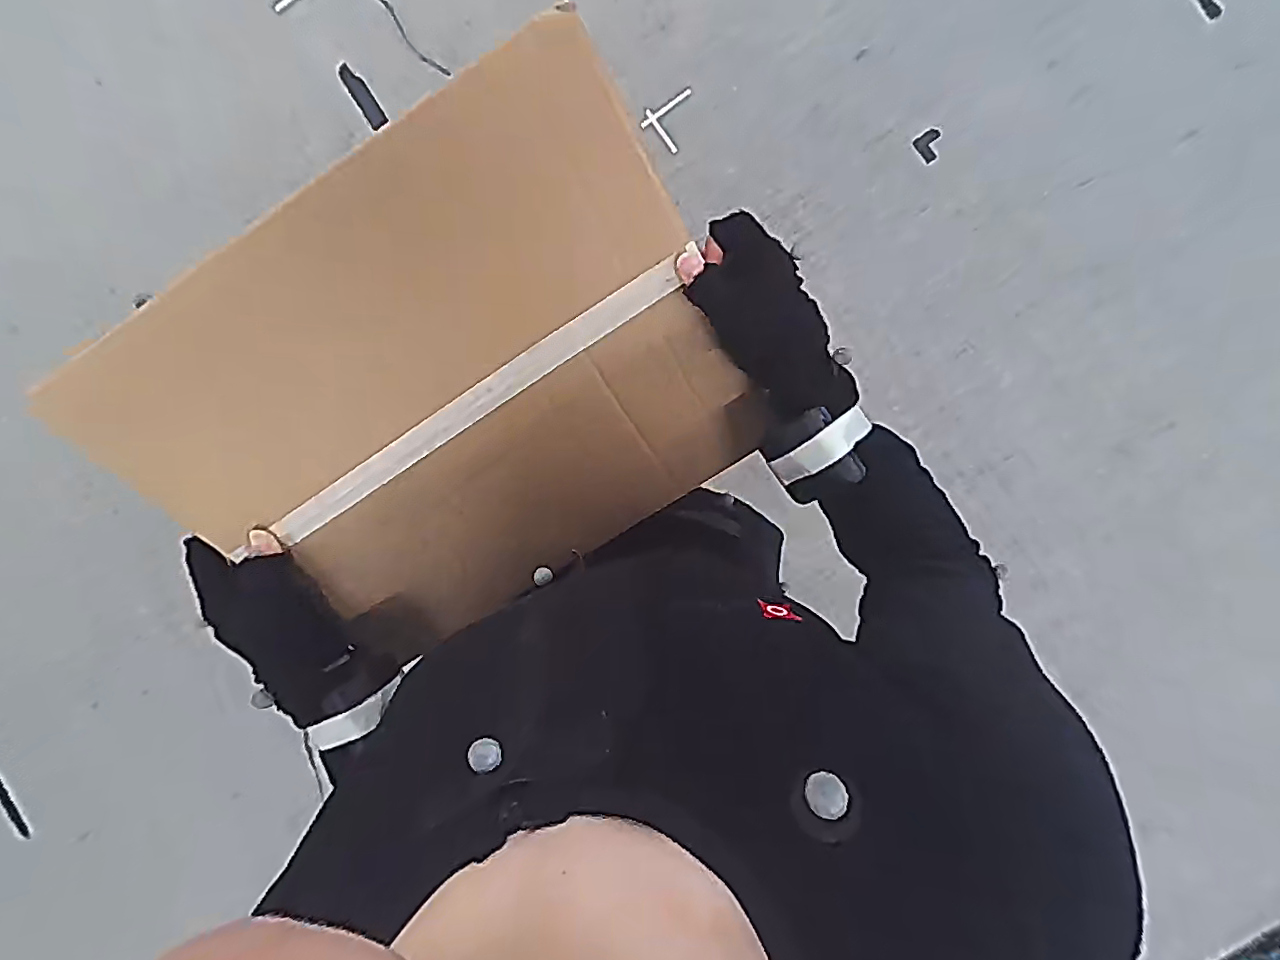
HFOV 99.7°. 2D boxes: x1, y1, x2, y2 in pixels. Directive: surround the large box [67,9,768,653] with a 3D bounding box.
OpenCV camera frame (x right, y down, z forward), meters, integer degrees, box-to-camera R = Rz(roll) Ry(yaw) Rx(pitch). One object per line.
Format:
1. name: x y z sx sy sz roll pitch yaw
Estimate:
1. large box: -0.161 -0.120 0.528 0.408 0.320 0.320 -32 120 6
